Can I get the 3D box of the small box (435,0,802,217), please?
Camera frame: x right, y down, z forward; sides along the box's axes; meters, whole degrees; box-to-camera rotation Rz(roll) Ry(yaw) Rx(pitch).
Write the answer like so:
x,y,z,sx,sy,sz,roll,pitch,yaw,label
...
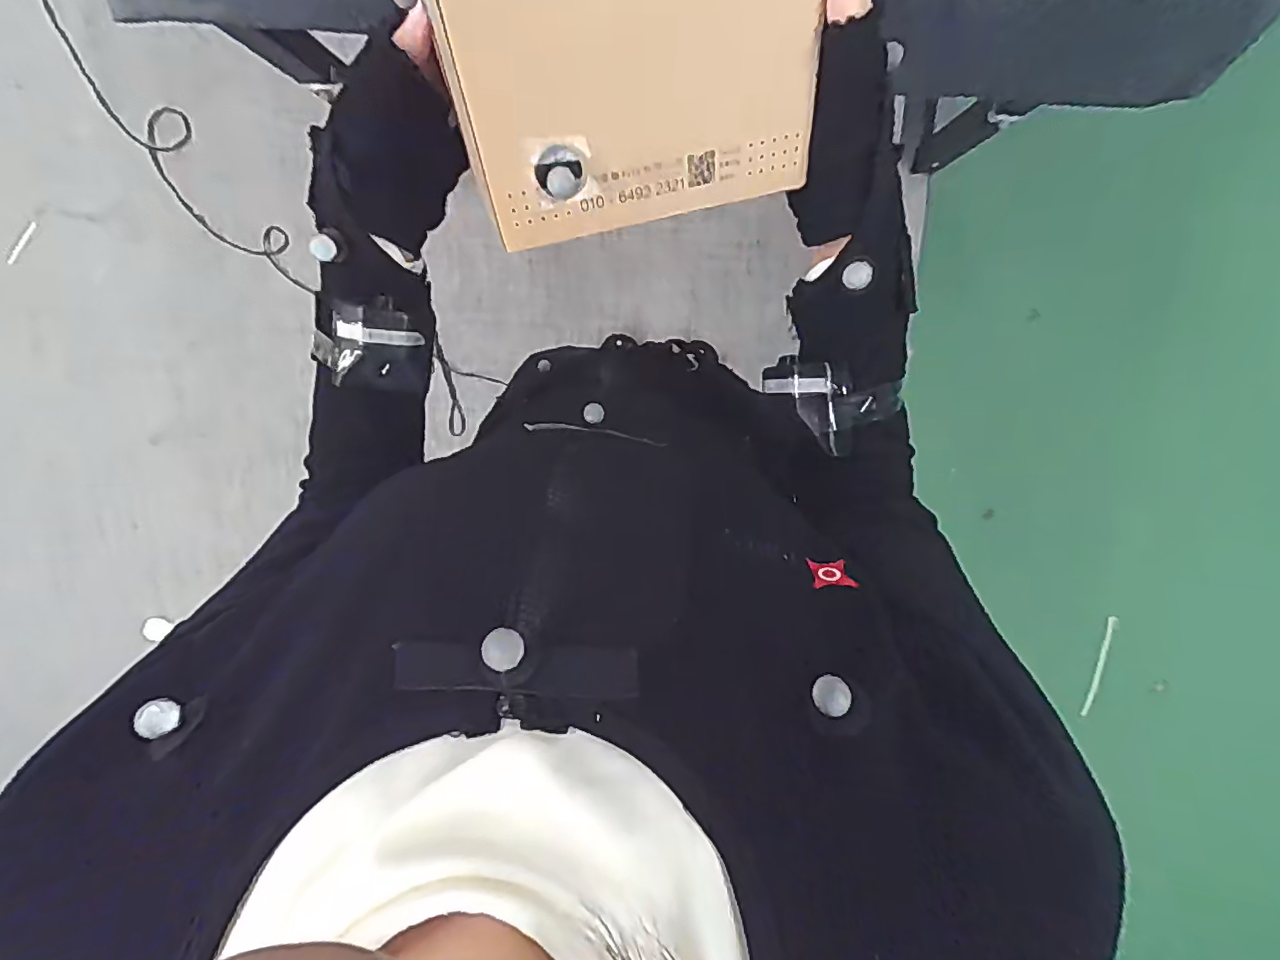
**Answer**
x,y,z,sx,sy,sz,roll,pitch,yaw,label
-0.022,-0.257,0.288,0.168,0.179,0.176,-16,135,-9,small box
